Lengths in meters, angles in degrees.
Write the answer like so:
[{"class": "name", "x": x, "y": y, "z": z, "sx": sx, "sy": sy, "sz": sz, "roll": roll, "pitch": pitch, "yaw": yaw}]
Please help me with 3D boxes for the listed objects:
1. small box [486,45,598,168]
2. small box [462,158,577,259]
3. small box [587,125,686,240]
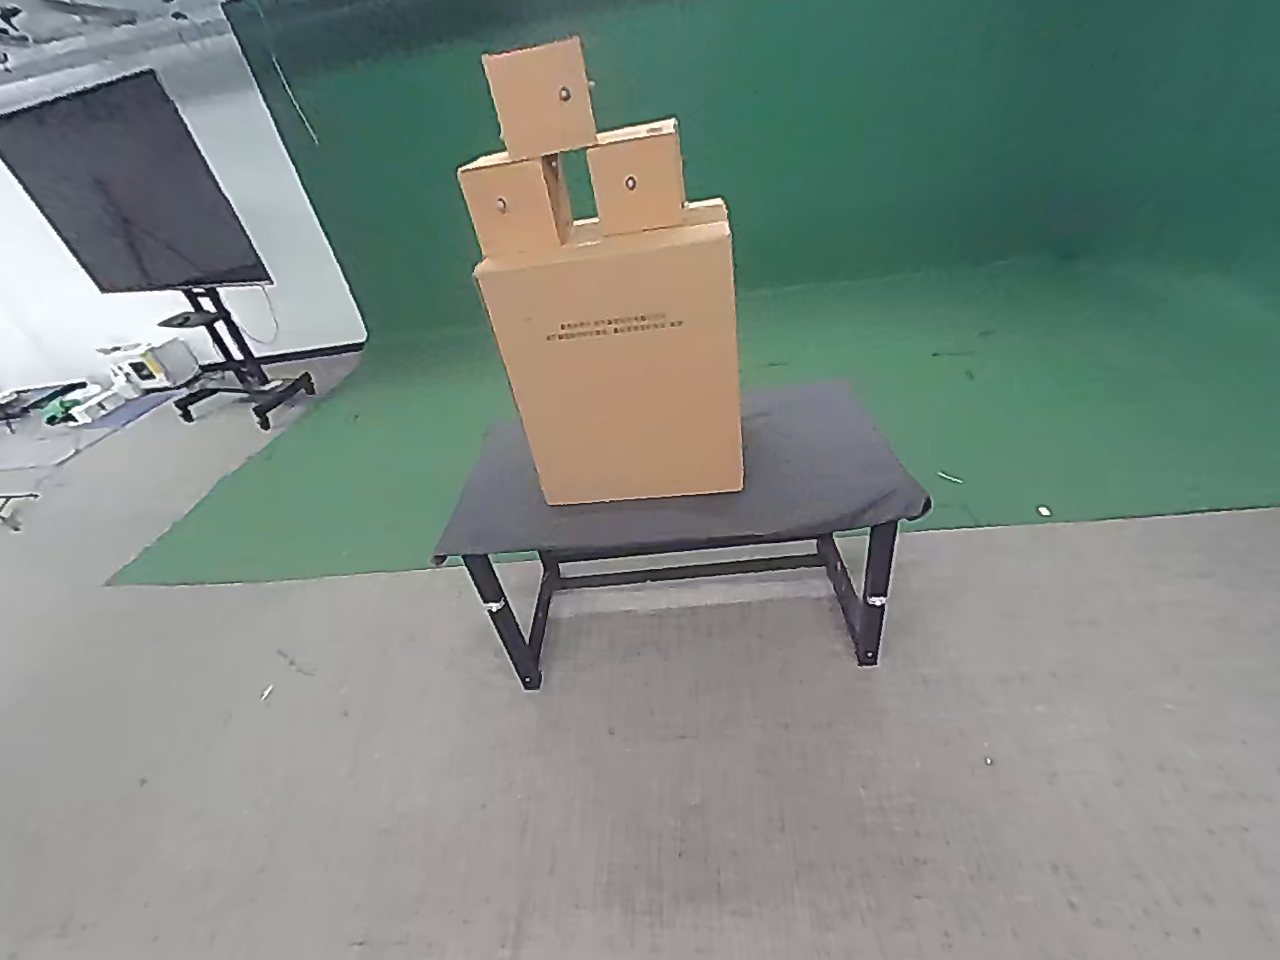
[{"class": "small box", "x": -0.180, "y": -0.730, "z": 1.060, "sx": 0.179, "sy": 0.176, "sz": 0.168, "roll": -11, "pitch": 37, "yaw": 2}, {"class": "small box", "x": -0.251, "y": -0.592, "z": 1.171, "sx": 0.179, "sy": 0.176, "sz": 0.168, "roll": -4, "pitch": 40, "yaw": 10}, {"class": "small box", "x": 0.003, "y": -0.629, "z": 1.147, "sx": 0.179, "sy": 0.176, "sz": 0.168, "roll": -5, "pitch": 40, "yaw": 11}]
